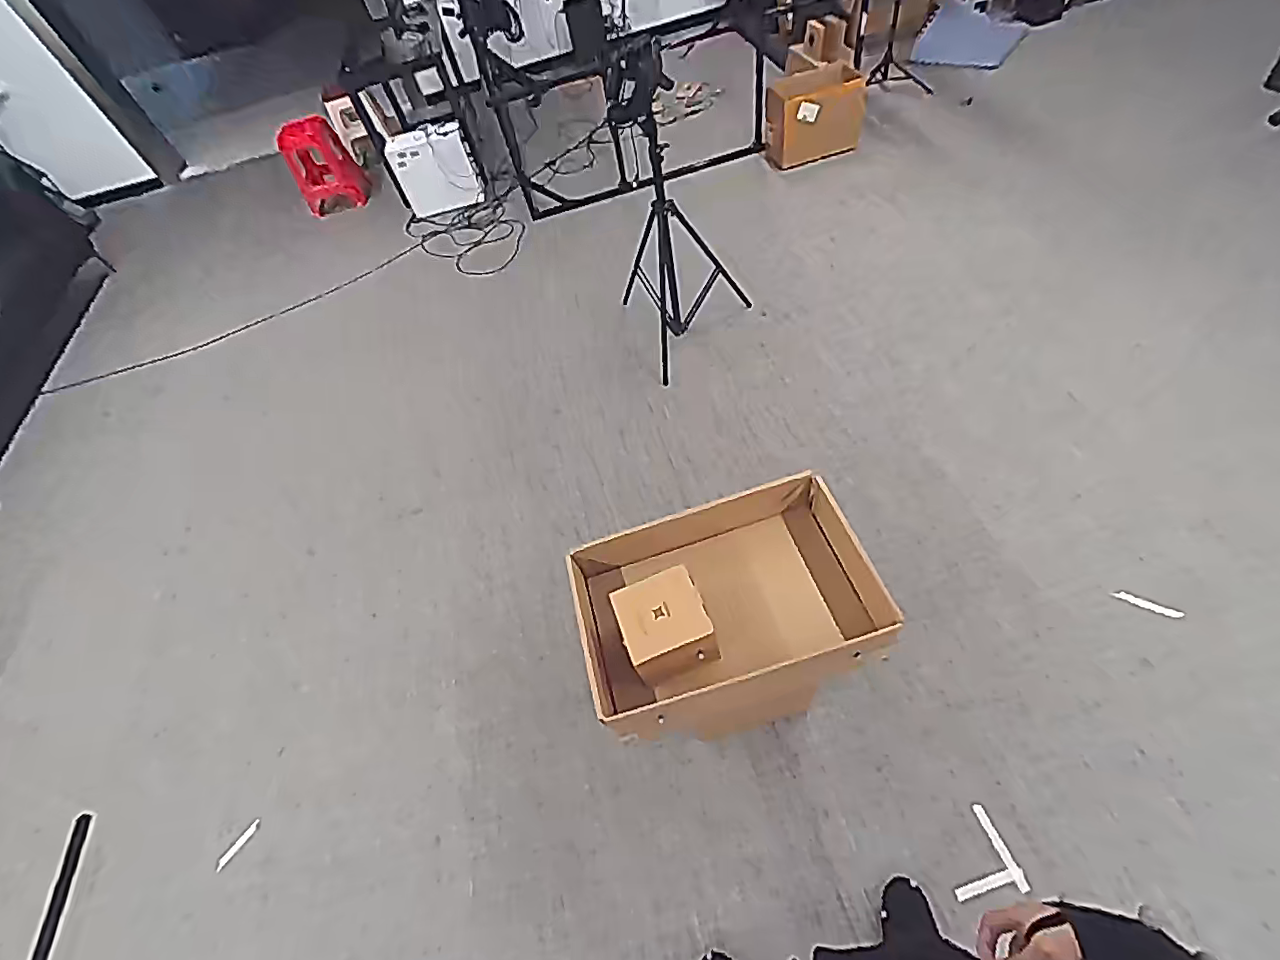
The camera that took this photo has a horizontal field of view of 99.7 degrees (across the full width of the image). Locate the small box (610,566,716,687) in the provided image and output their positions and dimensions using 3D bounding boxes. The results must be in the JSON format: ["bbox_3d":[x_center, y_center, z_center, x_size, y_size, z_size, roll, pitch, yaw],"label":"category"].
[{"bbox_3d":[0.055,0.316,1.155,0.179,0.176,0.168,-22,53,-2],"label":"small box"}]
